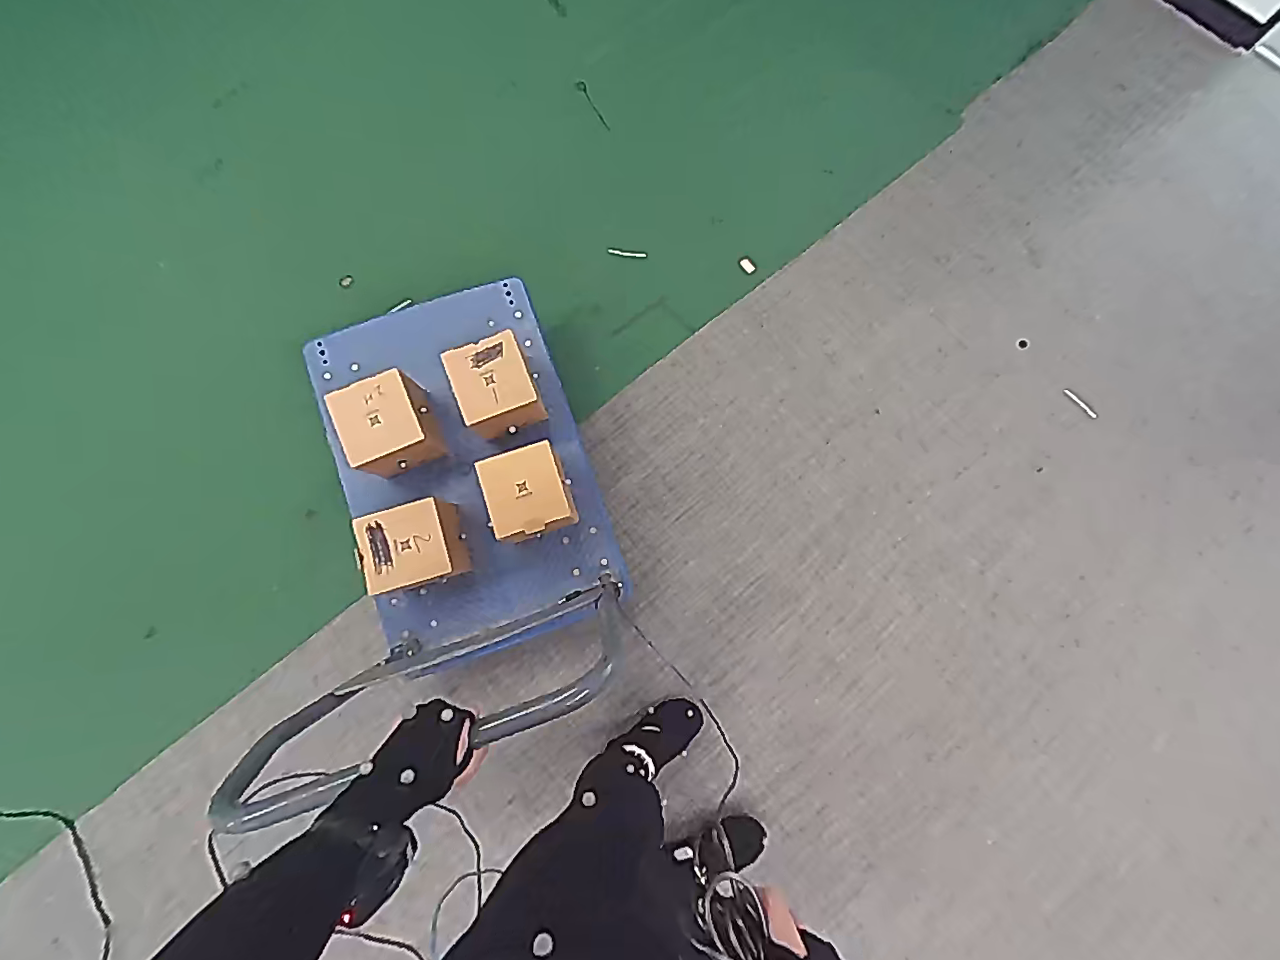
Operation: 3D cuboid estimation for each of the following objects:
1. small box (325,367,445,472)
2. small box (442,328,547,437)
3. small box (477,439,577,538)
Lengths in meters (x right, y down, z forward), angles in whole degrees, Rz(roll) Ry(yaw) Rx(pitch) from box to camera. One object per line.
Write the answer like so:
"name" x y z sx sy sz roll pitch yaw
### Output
"small box" -0.566 -0.126 1.224 0.168 0.176 0.179 -23 84 -5
"small box" -0.326 -0.217 1.243 0.168 0.176 0.179 -21 84 -4
"small box" -0.248 0.027 1.217 0.168 0.176 0.179 -18 84 -4
